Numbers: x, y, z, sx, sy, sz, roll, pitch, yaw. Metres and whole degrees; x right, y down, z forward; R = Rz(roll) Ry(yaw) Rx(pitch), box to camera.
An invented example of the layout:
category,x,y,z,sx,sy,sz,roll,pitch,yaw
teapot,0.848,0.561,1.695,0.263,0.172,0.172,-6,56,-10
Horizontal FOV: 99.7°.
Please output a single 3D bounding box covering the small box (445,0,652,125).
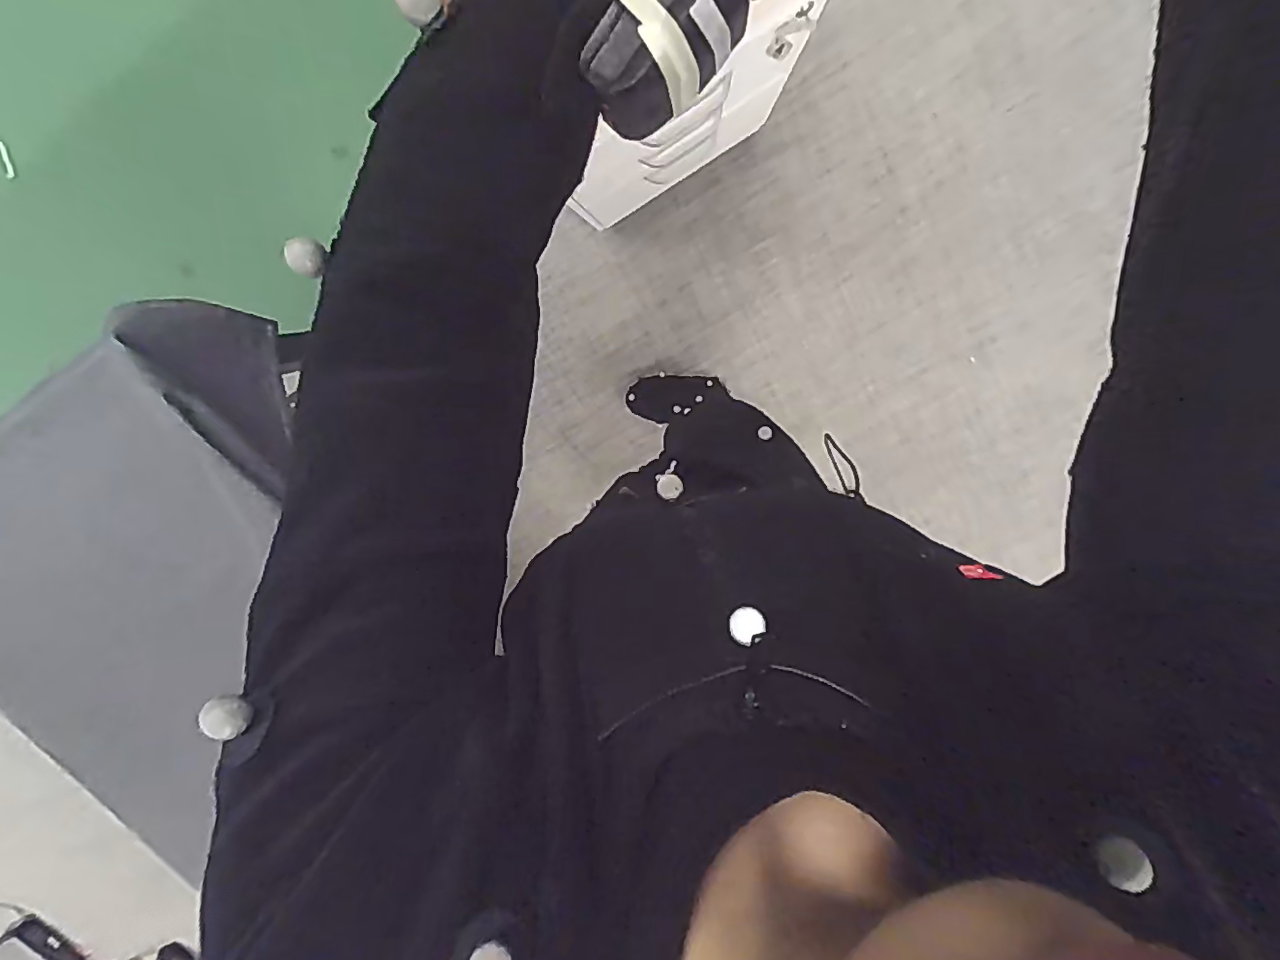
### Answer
category,x,y,z,sx,sy,sz,roll,pitch,yaw
small box,-0.096,-0.482,0.523,0.168,0.176,0.179,-28,104,11
